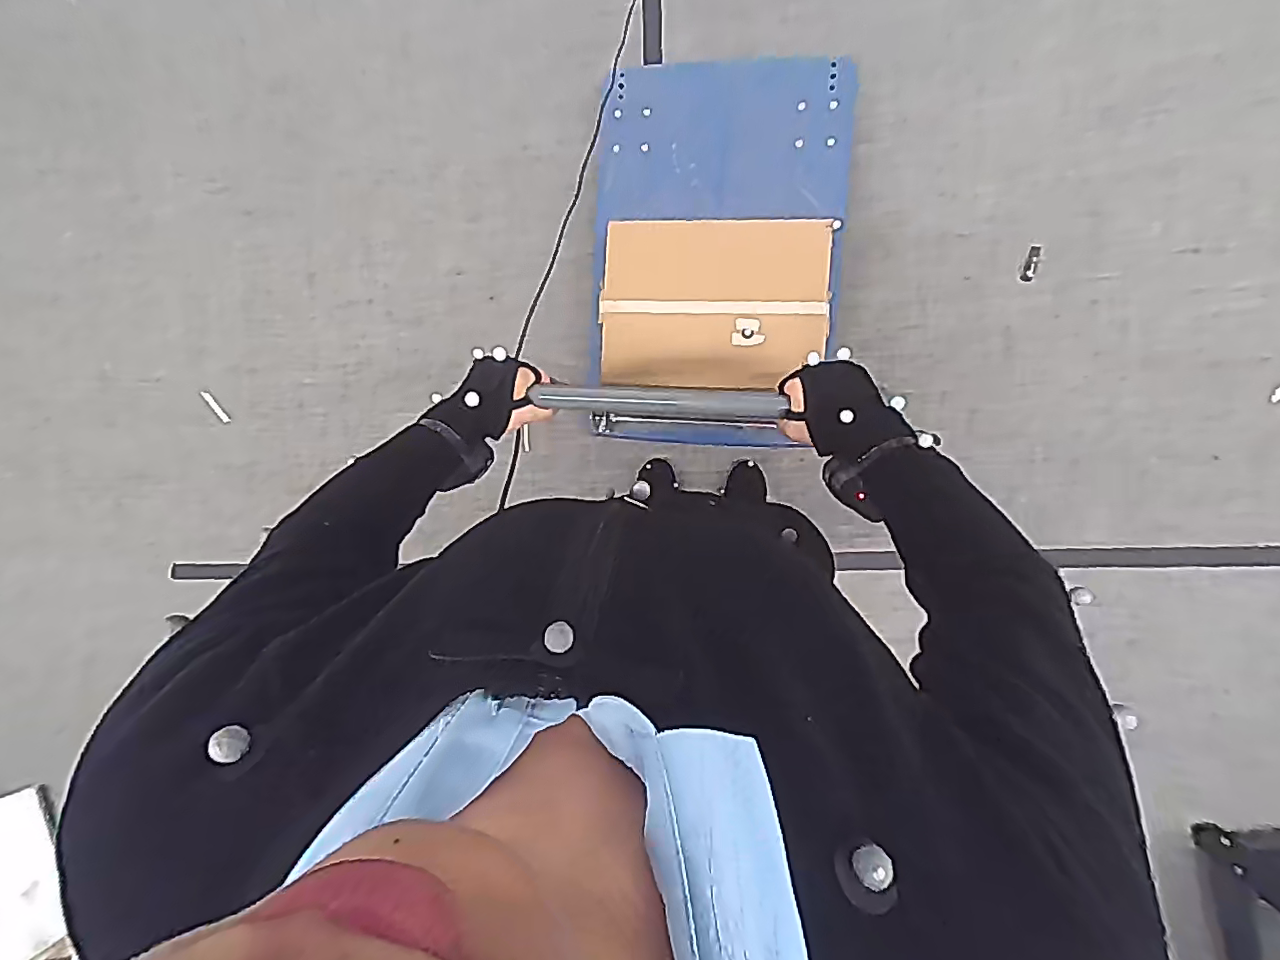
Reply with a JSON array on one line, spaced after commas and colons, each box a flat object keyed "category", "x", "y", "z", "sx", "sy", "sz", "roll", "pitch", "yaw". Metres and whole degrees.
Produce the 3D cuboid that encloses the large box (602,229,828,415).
[{"category": "large box", "x": 0.148, "y": -0.304, "z": 1.131, "sx": 0.408, "sy": 0.320, "sz": 0.320, "roll": 3, "pitch": 94, "yaw": 8}]
